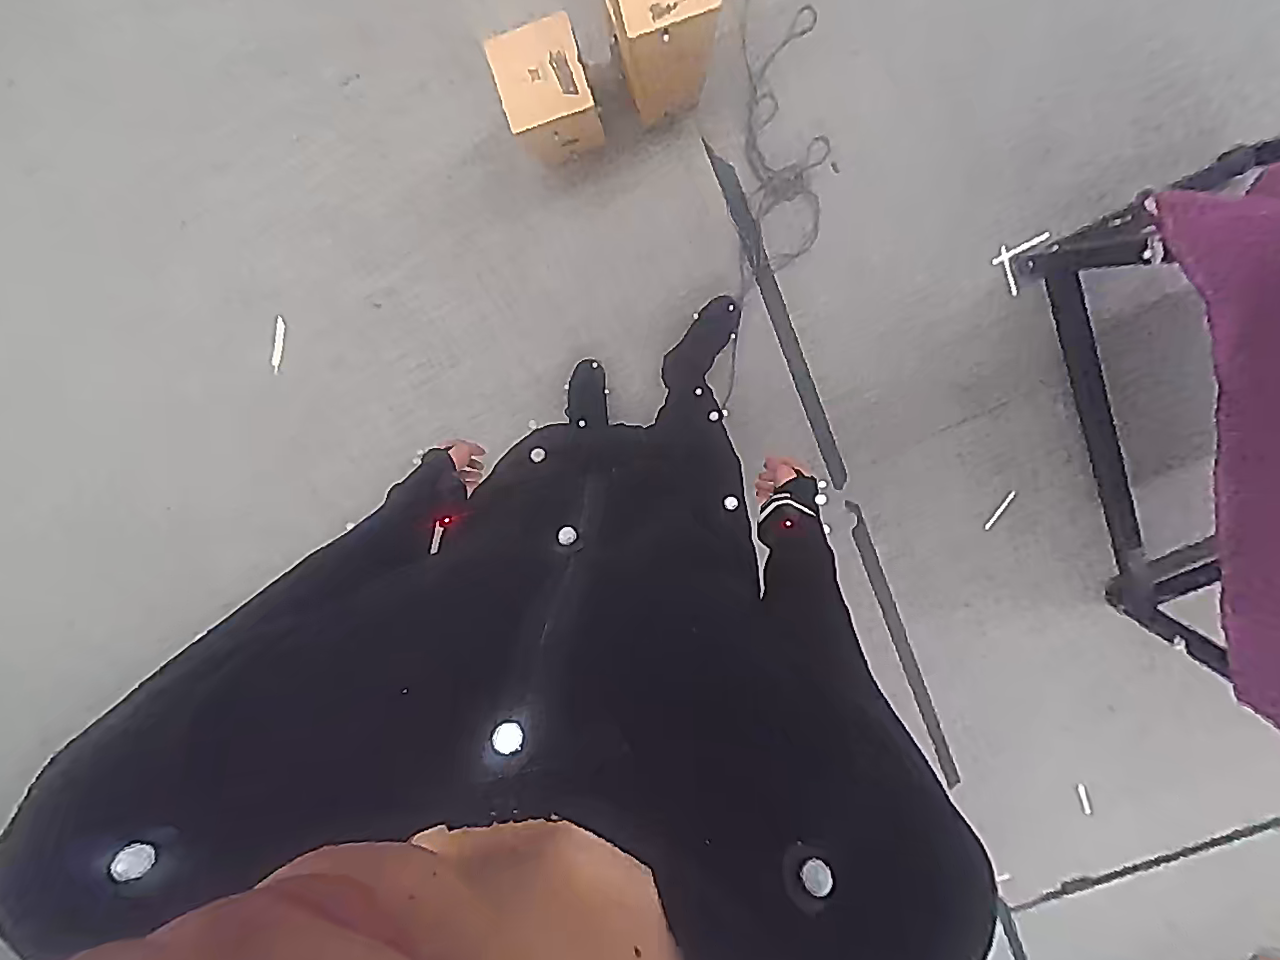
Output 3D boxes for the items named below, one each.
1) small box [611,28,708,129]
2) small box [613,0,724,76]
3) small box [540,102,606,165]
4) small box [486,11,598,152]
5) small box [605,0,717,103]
[{"bbox_3d":[0.043,-0.961,1.250,0.168,0.176,0.179,-24,106,9],"label":"small box"},{"bbox_3d":[0.038,-0.856,0.941,0.168,0.176,0.179,-15,106,6],"label":"small box"},{"bbox_3d":[-0.188,-0.881,1.276,0.168,0.176,0.179,-19,107,7],"label":"small box"},{"bbox_3d":[-0.191,-0.815,1.125,0.179,0.176,0.168,-16,107,6],"label":"small box"},{"bbox_3d":[0.042,-0.910,1.096,0.179,0.176,0.168,-22,106,8],"label":"small box"}]
